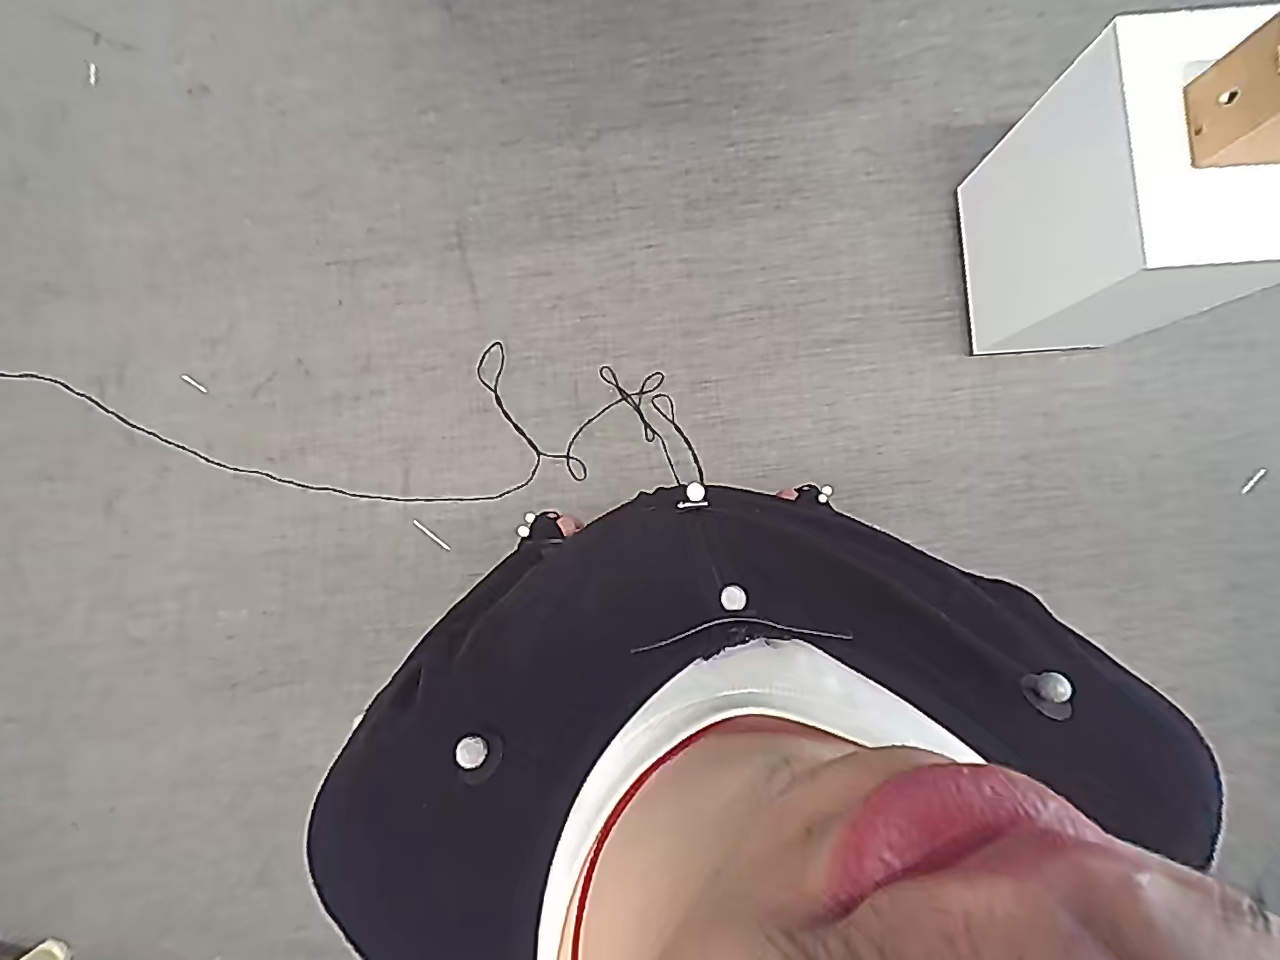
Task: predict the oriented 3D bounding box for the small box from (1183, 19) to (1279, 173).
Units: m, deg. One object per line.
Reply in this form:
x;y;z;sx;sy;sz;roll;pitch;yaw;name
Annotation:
1.129;-0.677;0.962;0.179;0.176;0.168;-6;85;0;small box
